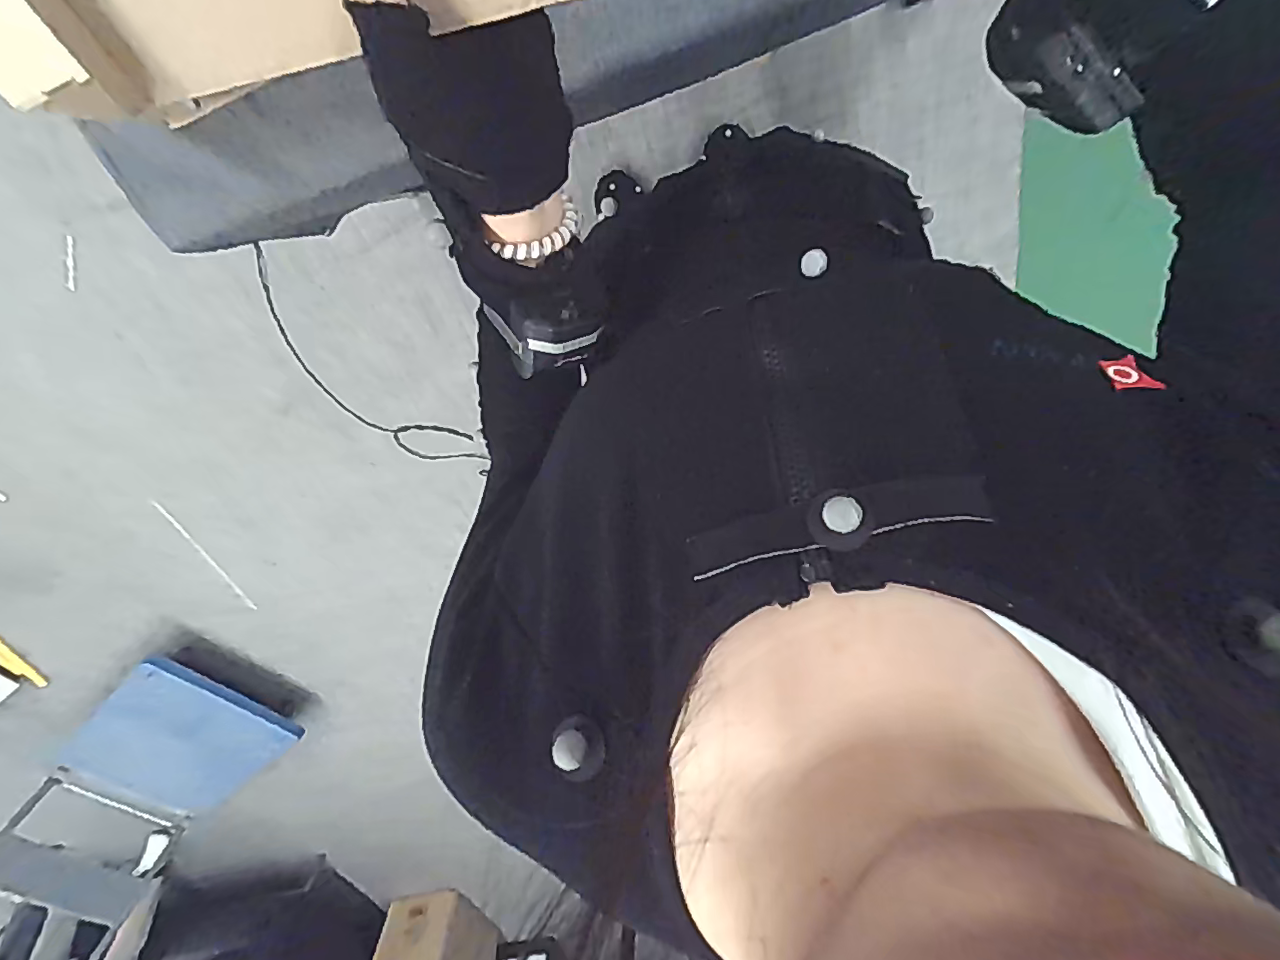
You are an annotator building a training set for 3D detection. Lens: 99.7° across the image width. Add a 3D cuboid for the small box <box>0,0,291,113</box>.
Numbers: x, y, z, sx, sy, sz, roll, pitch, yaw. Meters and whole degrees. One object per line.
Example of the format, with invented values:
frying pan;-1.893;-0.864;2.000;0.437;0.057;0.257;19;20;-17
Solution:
small box;-0.442;-0.430;0.438;0.168;0.176;0.179;-18;119;10
